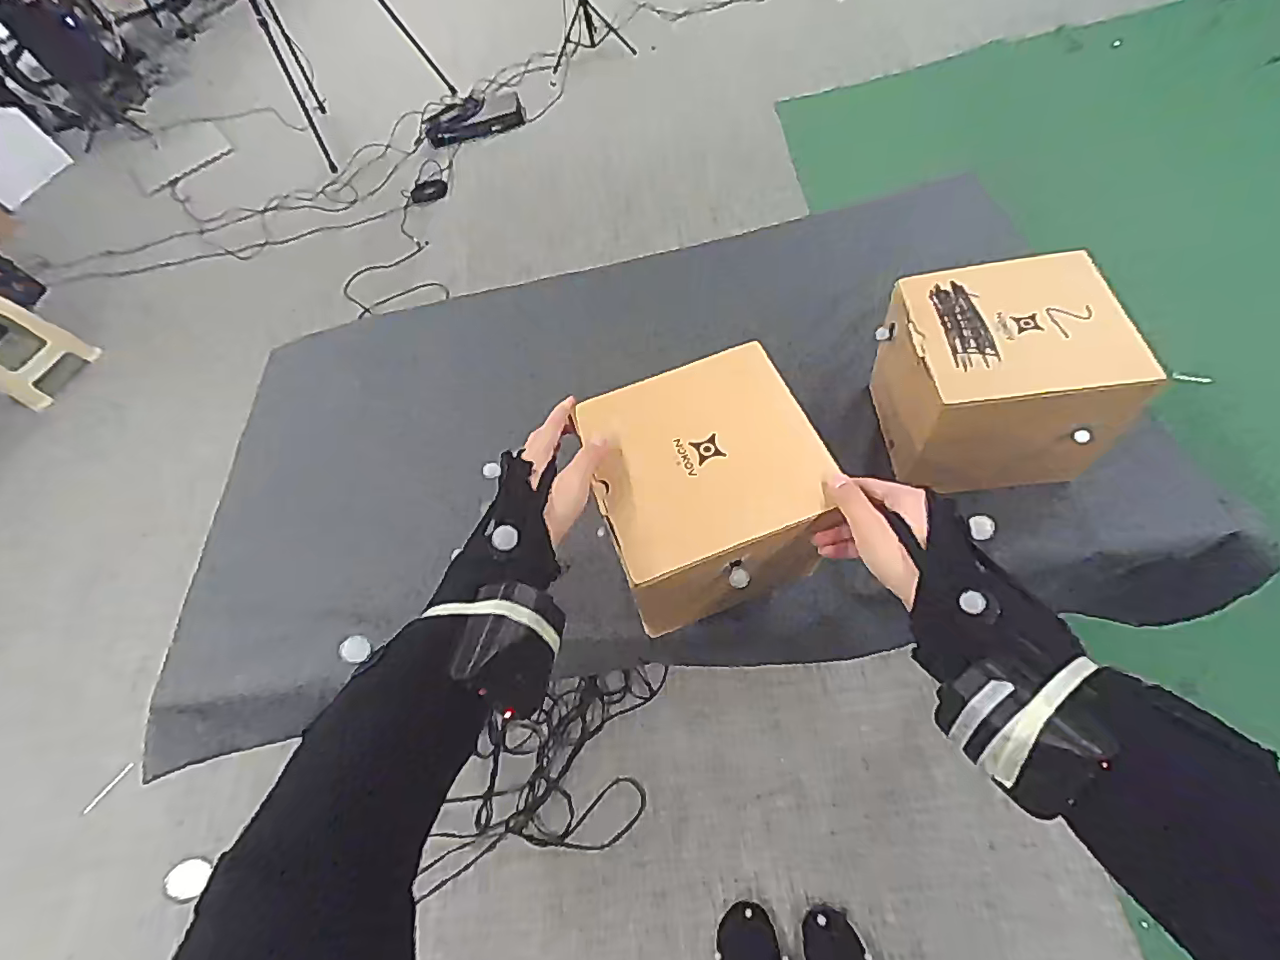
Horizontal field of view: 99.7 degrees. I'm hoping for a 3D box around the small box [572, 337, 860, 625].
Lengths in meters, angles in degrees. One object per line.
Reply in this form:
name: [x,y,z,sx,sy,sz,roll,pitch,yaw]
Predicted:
small box: [0.057,0.010,0.483,0.179,0.176,0.168,-21,63,-4]
